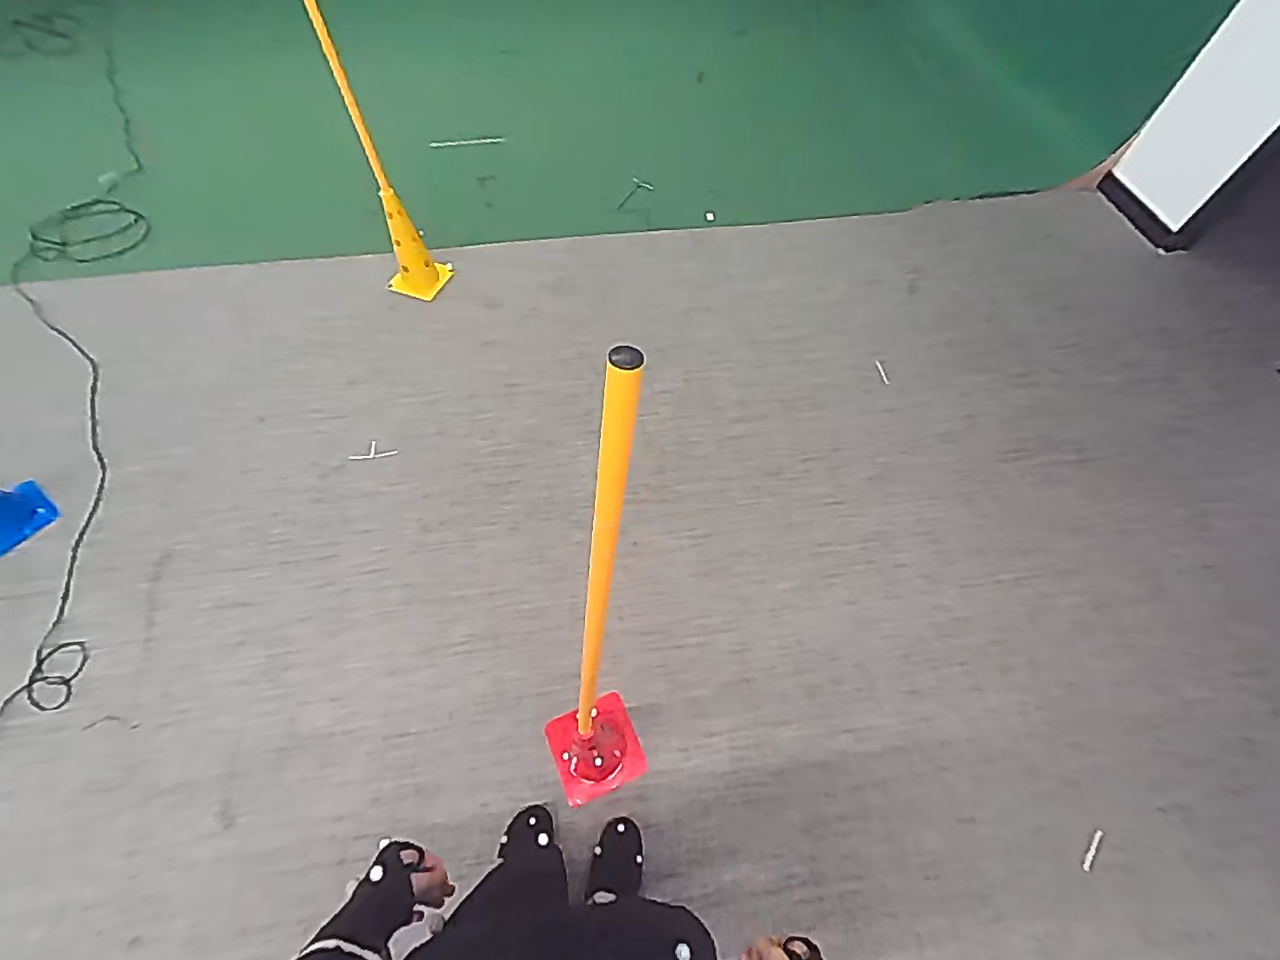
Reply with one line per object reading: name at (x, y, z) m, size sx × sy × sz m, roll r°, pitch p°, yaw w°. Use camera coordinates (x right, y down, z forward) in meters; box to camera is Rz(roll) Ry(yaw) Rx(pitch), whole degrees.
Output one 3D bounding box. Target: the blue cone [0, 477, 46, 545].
blue cone at (-1.827, 0.021, 1.405) m, size 0.192 × 0.380 × 0.193 m, roll 34°, pitch 67°, yaw 16°
